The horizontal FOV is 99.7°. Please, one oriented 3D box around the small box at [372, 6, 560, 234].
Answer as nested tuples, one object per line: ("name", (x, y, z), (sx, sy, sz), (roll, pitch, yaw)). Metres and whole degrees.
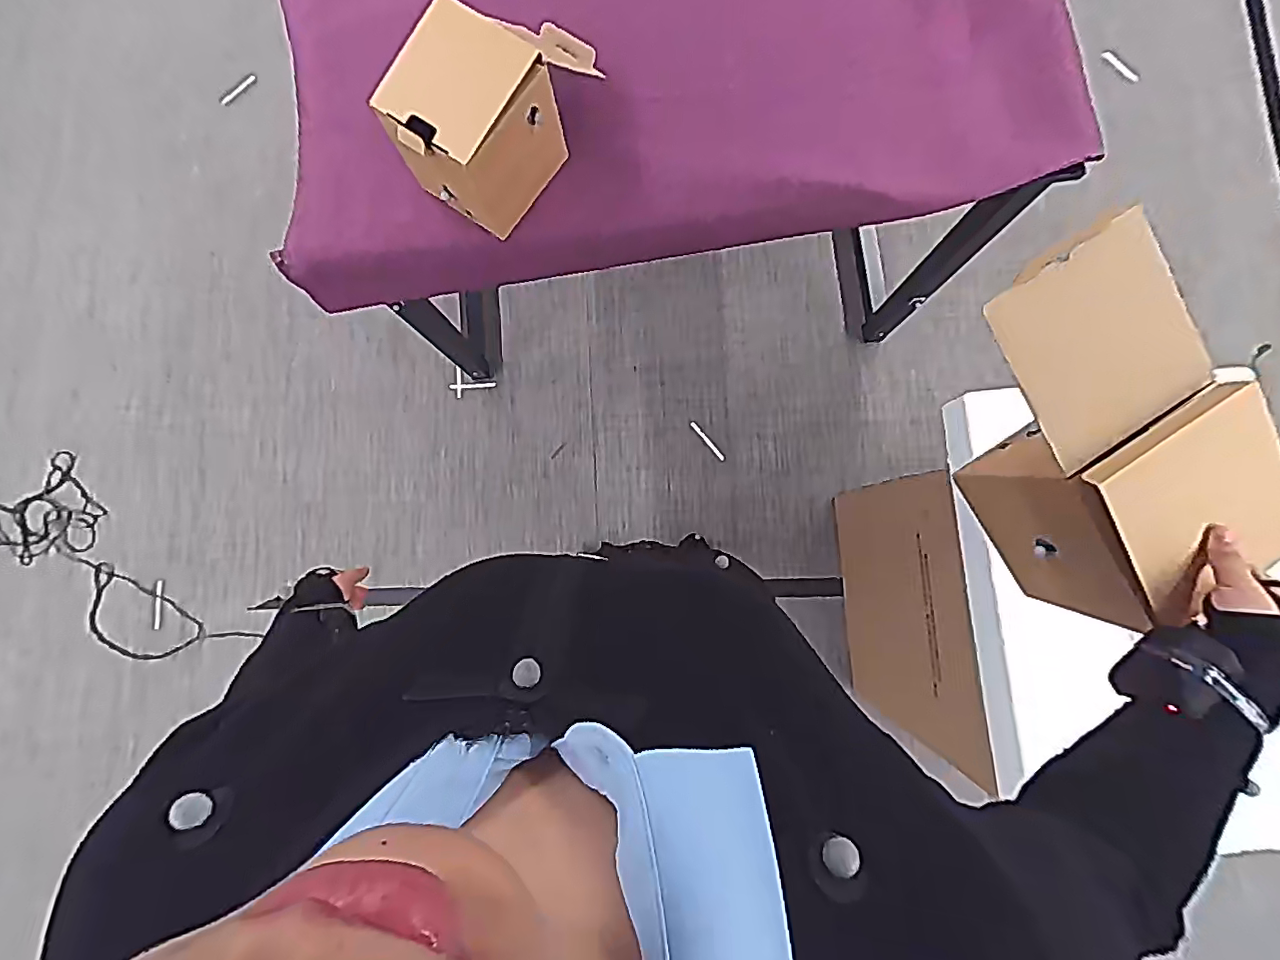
("small box", (-0.232, -0.502, 0.777), (0.168, 0.176, 0.179), (35, 85, 7))
